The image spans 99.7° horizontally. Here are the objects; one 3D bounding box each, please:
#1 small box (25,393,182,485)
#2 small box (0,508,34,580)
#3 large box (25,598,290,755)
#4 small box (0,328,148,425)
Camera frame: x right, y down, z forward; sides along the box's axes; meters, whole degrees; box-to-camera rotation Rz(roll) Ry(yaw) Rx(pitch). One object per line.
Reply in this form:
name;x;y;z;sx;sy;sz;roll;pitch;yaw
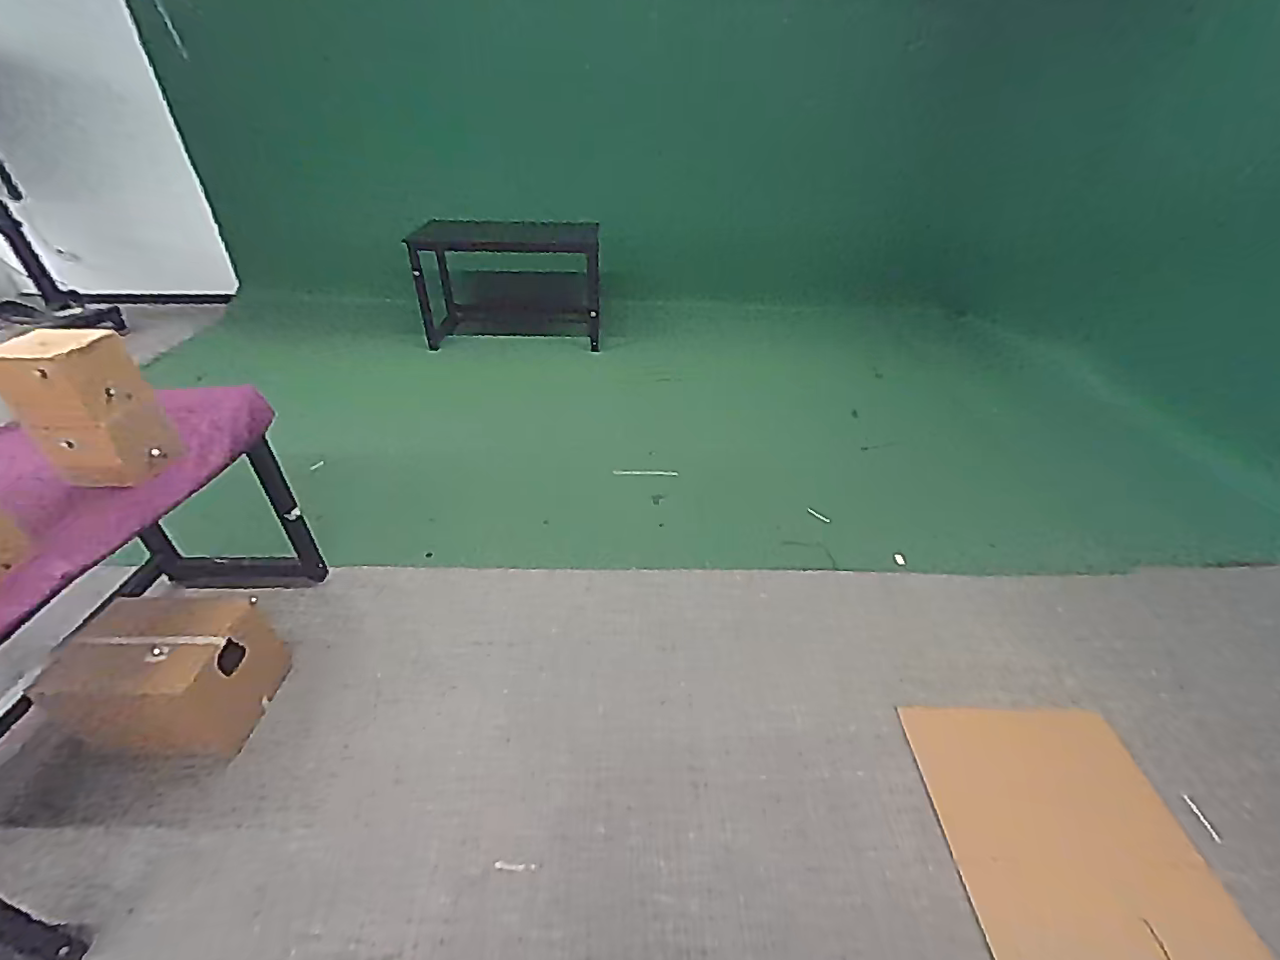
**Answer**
small box;-1.287;-0.101;1.315;0.179;0.176;0.168;1;36;0
small box;-1.318;0.128;0.994;0.179;0.176;0.168;-1;36;-1
large box;-1.321;0.555;1.537;0.408;0.320;0.320;1;37;-1
small box;-1.290;-0.233;1.221;0.179;0.176;0.168;1;36;-1
